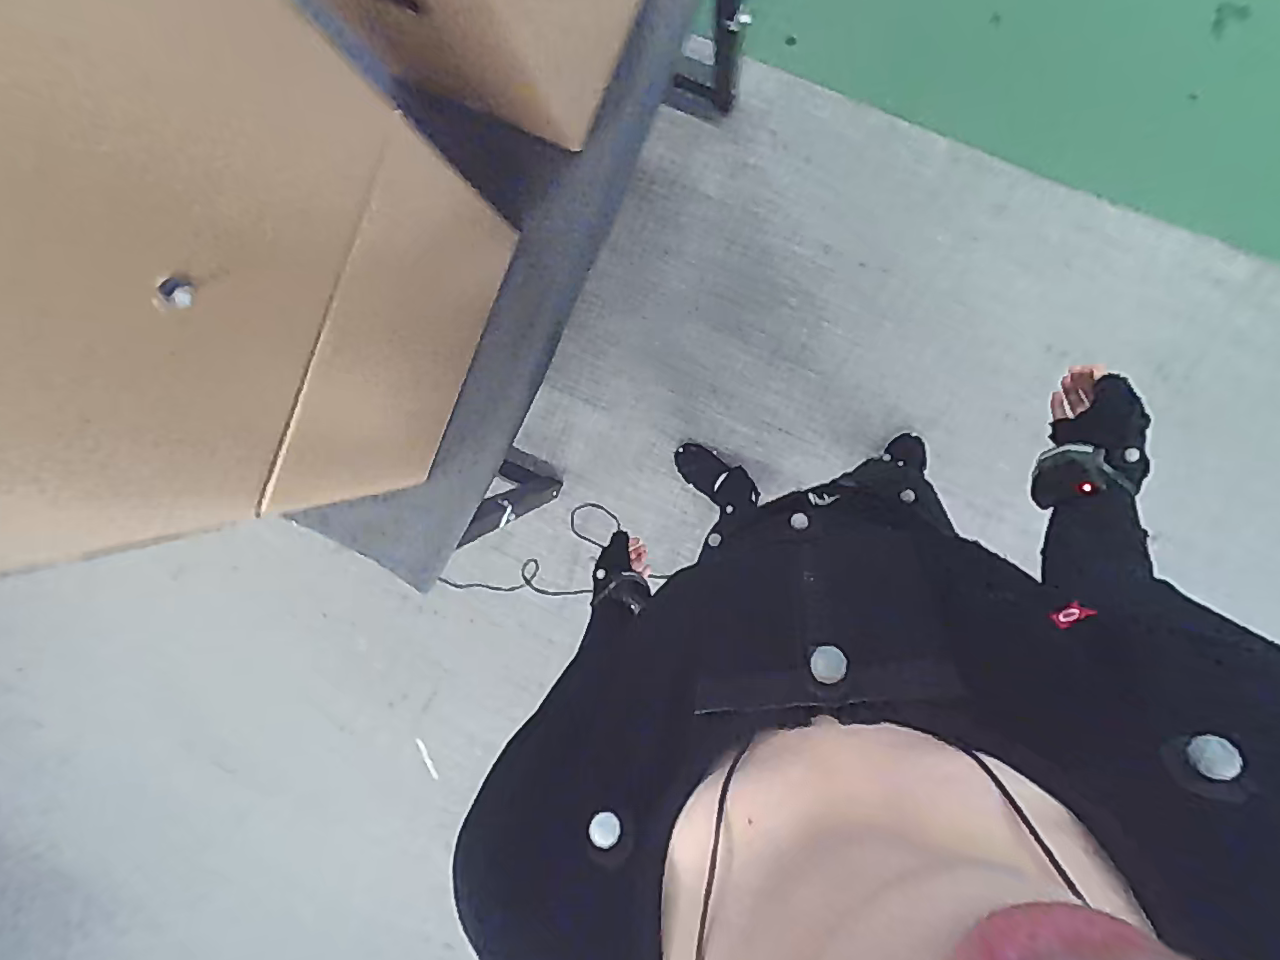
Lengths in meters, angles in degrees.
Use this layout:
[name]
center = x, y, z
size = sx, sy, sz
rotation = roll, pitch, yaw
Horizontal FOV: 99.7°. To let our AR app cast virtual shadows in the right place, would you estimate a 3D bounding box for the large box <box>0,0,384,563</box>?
[large box]
center = -0.444, -0.195, 0.359
size = 0.320, 0.320, 0.408
rotation = 25, 99, 4
